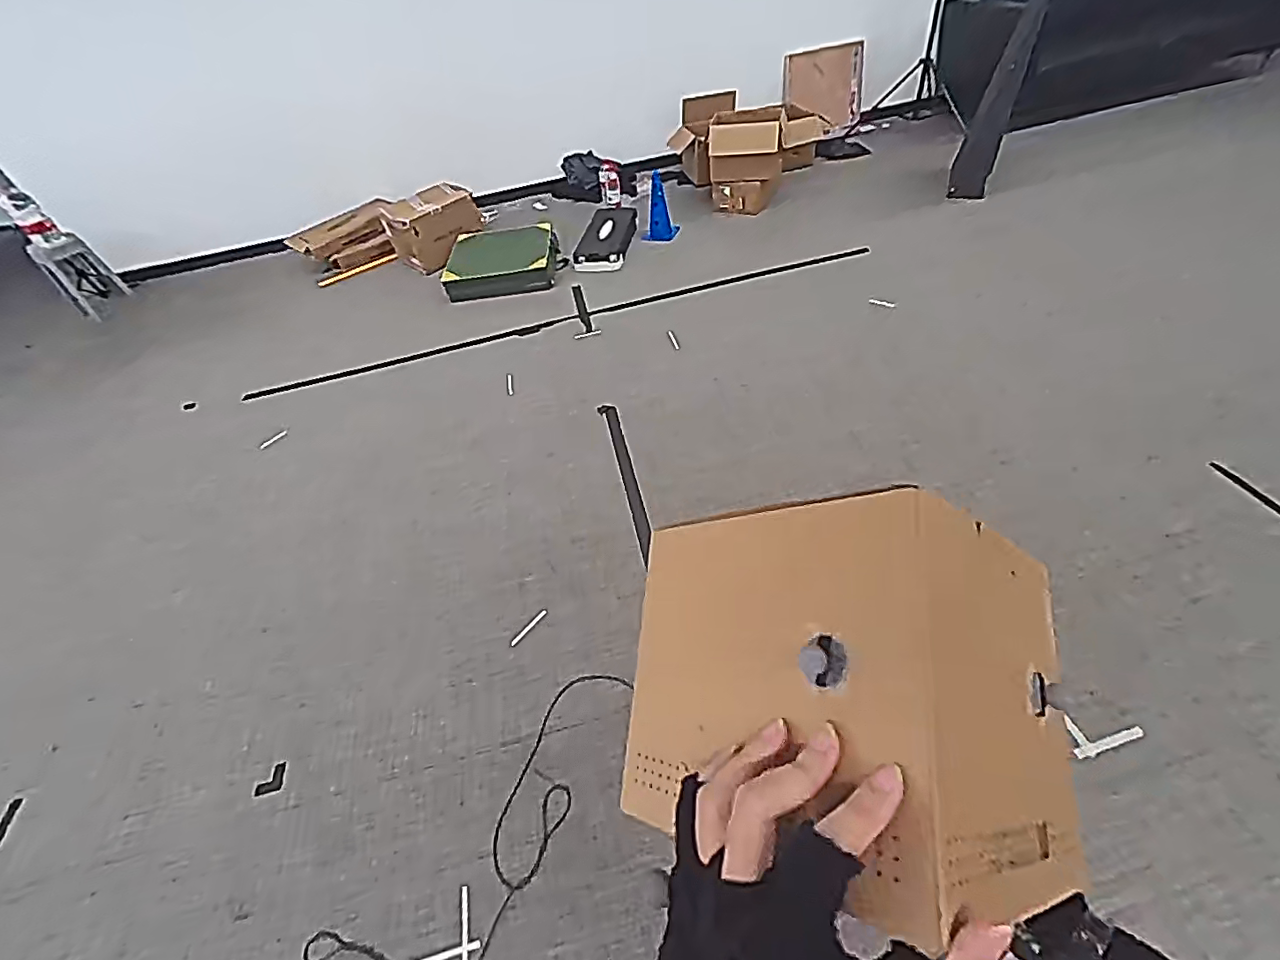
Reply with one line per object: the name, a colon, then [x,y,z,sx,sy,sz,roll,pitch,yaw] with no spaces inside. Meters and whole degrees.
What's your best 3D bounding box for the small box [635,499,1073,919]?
small box: [0.116,0.123,0.314,0.179,0.168,0.176,-17,59,50]
